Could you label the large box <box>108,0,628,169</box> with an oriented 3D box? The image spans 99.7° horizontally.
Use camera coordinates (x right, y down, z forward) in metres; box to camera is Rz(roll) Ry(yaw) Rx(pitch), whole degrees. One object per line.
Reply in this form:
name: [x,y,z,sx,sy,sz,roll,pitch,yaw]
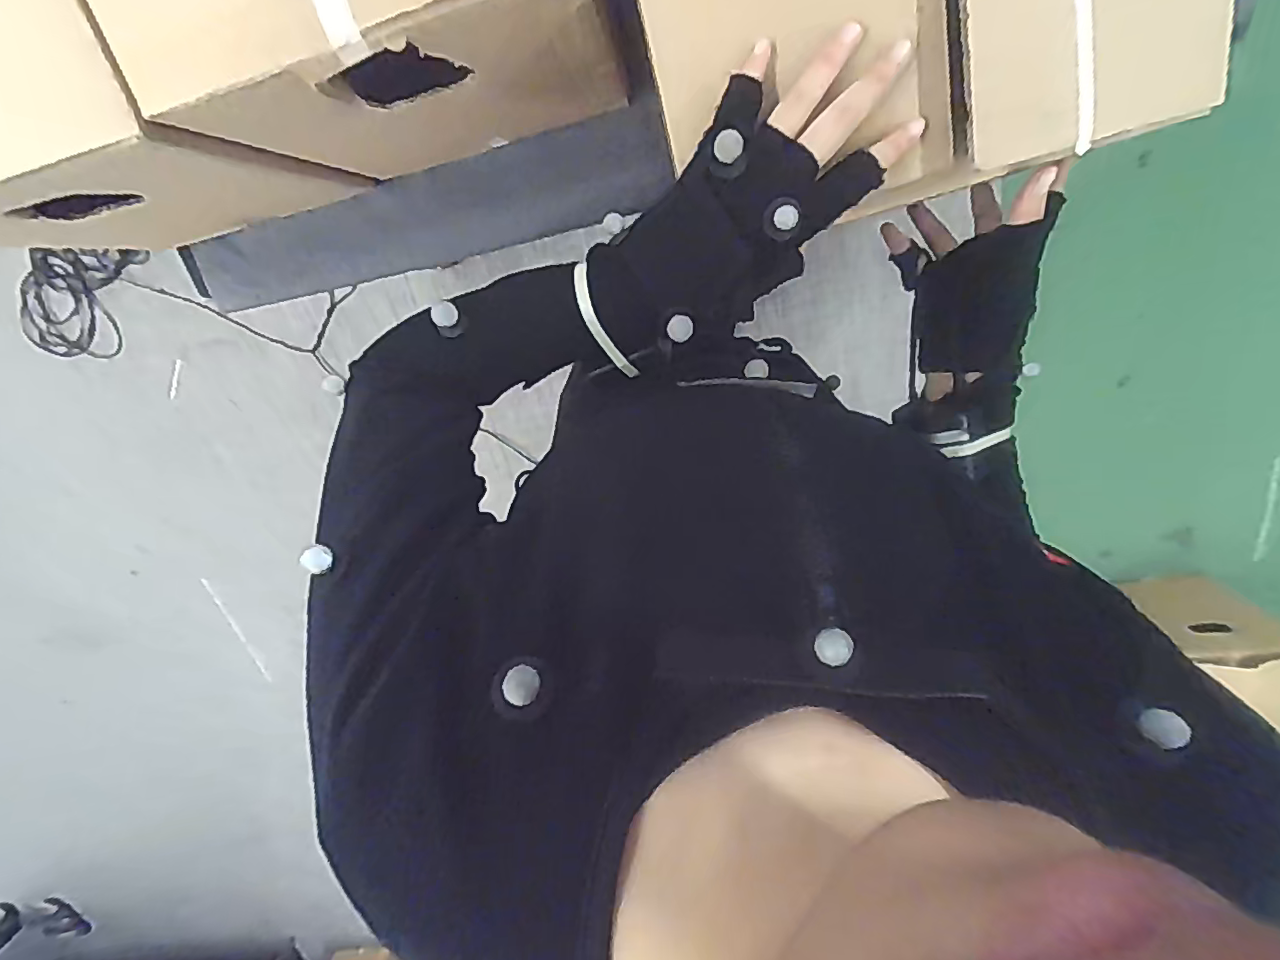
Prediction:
large box: [-0.213,-0.512,0.405,0.320,0.320,0.408,-11,112,10]
